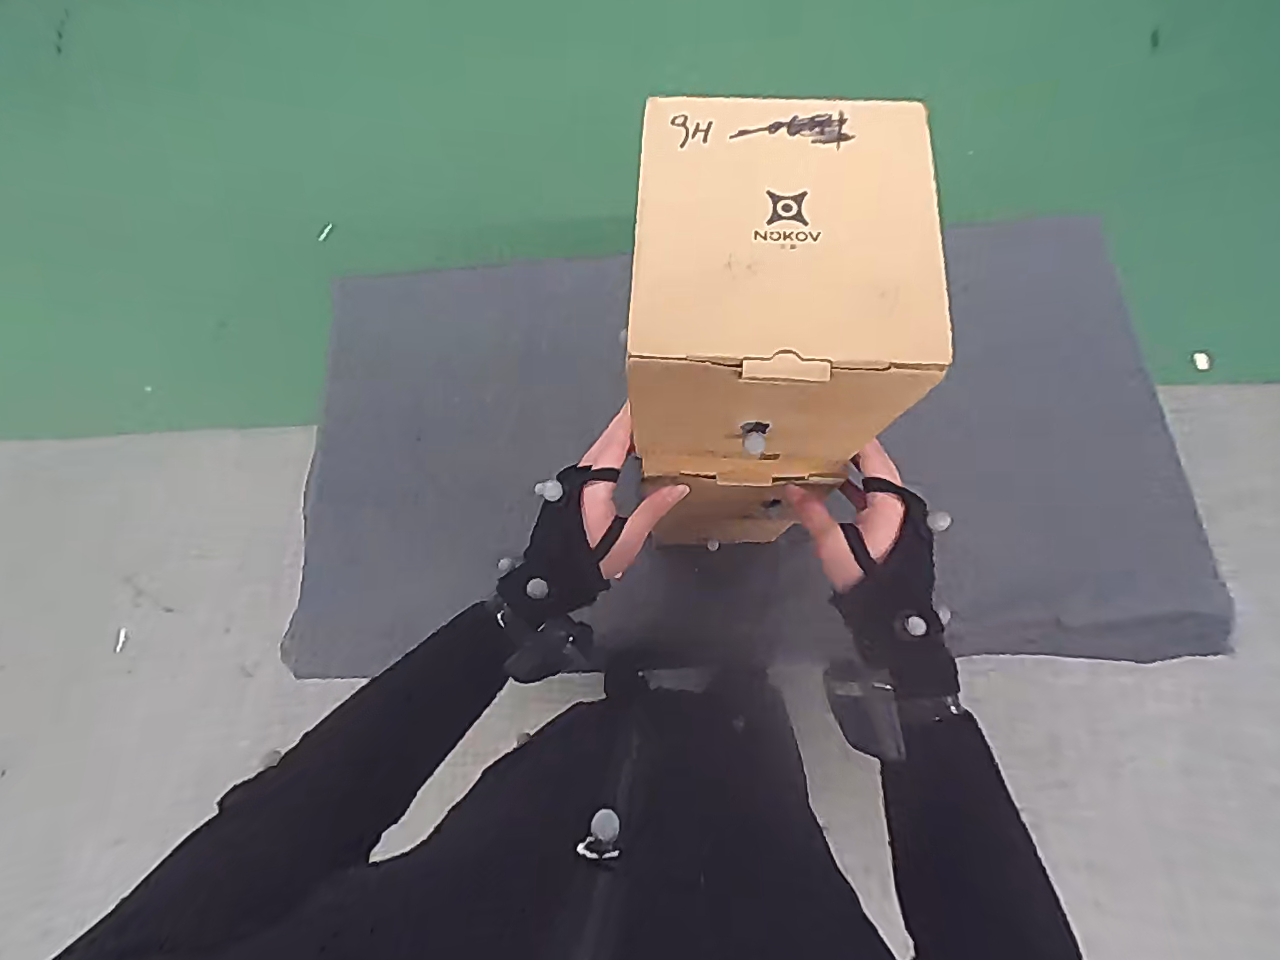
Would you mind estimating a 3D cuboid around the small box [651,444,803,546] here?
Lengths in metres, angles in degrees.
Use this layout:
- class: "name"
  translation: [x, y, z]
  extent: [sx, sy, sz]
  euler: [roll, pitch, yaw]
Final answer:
- class: "small box"
  translation: [0.097, -0.017, 0.681]
  extent: [0.168, 0.176, 0.179]
  euler: [-2, 75, 3]

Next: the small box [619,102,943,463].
- class: "small box"
  translation: [0.080, -0.116, 0.372]
  extent: [0.168, 0.176, 0.179]
  euler: [3, 75, 3]
